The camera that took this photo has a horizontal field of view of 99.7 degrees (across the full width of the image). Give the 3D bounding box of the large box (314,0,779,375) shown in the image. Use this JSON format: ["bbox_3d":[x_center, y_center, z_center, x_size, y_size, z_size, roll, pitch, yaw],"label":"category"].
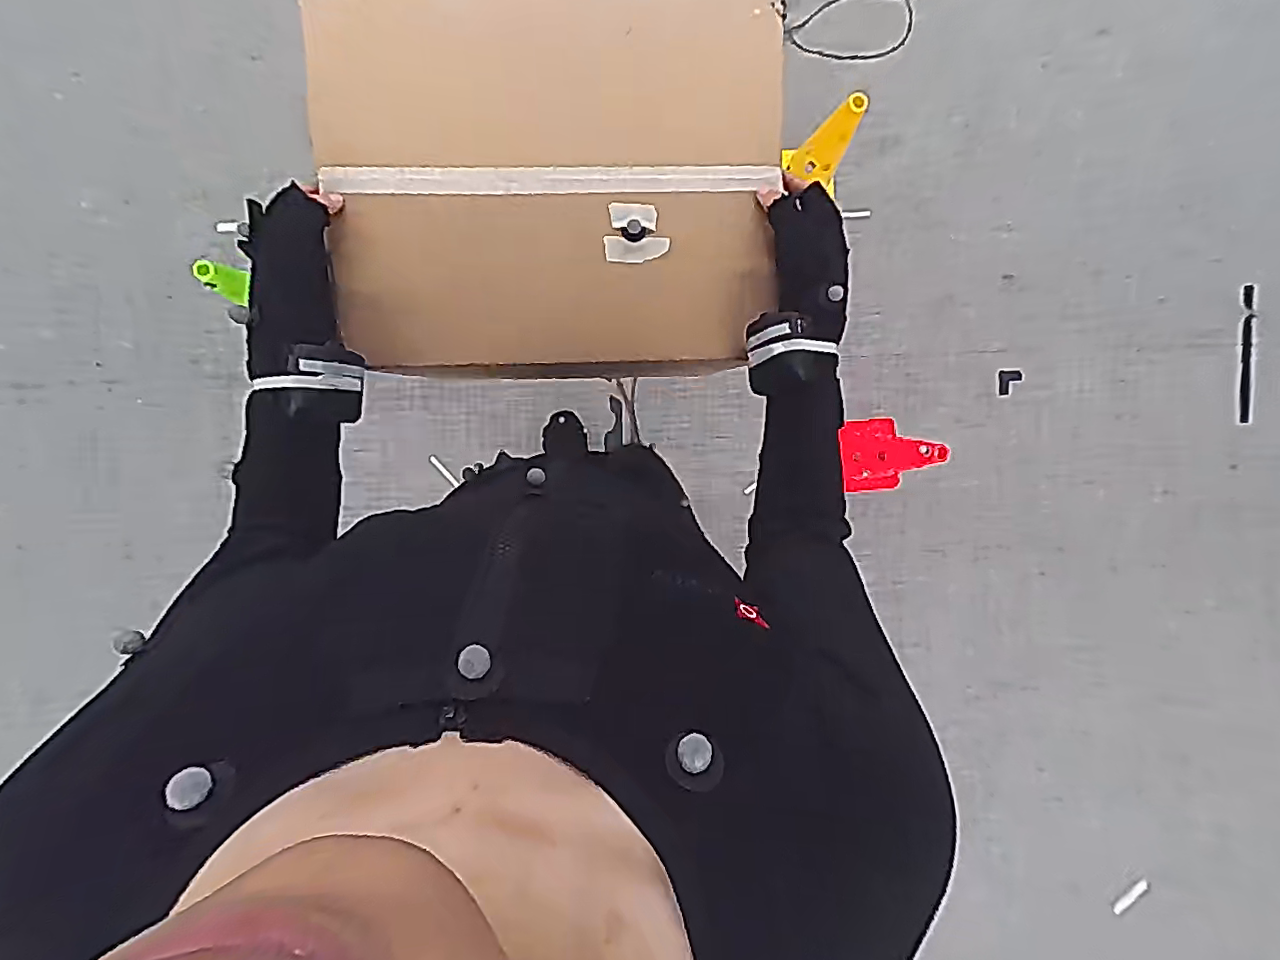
[{"bbox_3d":[-0.083,-0.294,0.630,0.408,0.320,0.320,-2,99,-5],"label":"large box"}]

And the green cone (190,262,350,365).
[{"bbox_3d":[-0.857,-0.419,1.224,0.202,0.368,0.200,-40,93,0],"label":"green cone"}]

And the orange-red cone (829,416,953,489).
[{"bbox_3d":[0.637,-0.074,1.330,0.198,0.360,0.199,-5,91,-4],"label":"orange-red cone"}]
